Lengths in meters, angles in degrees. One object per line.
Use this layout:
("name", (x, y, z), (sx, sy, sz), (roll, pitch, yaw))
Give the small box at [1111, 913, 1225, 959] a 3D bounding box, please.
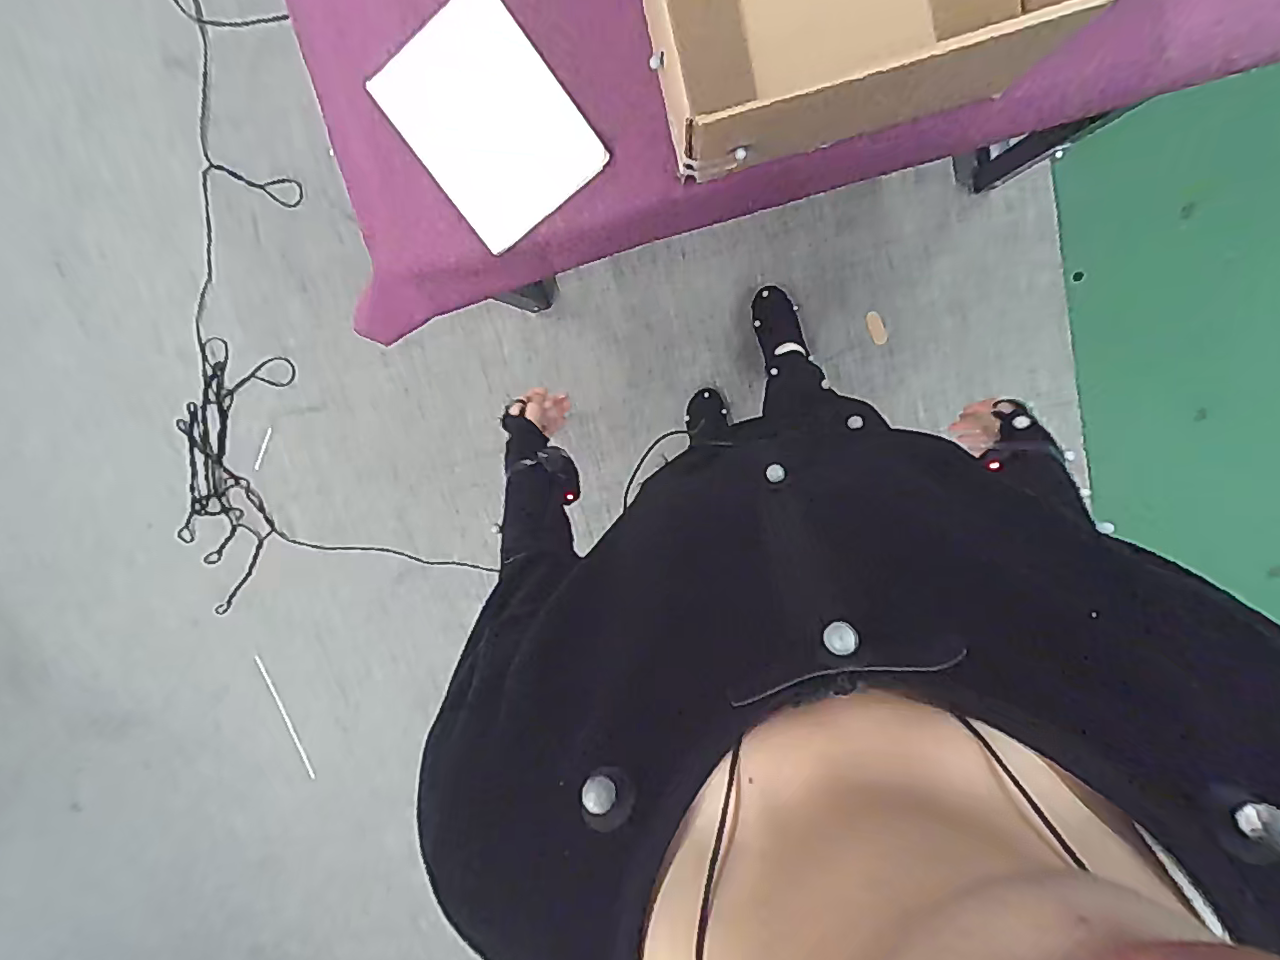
("small box", (1.250, 1.152, 1.252), (0.168, 0.176, 0.179), (-23, 99, 9))
